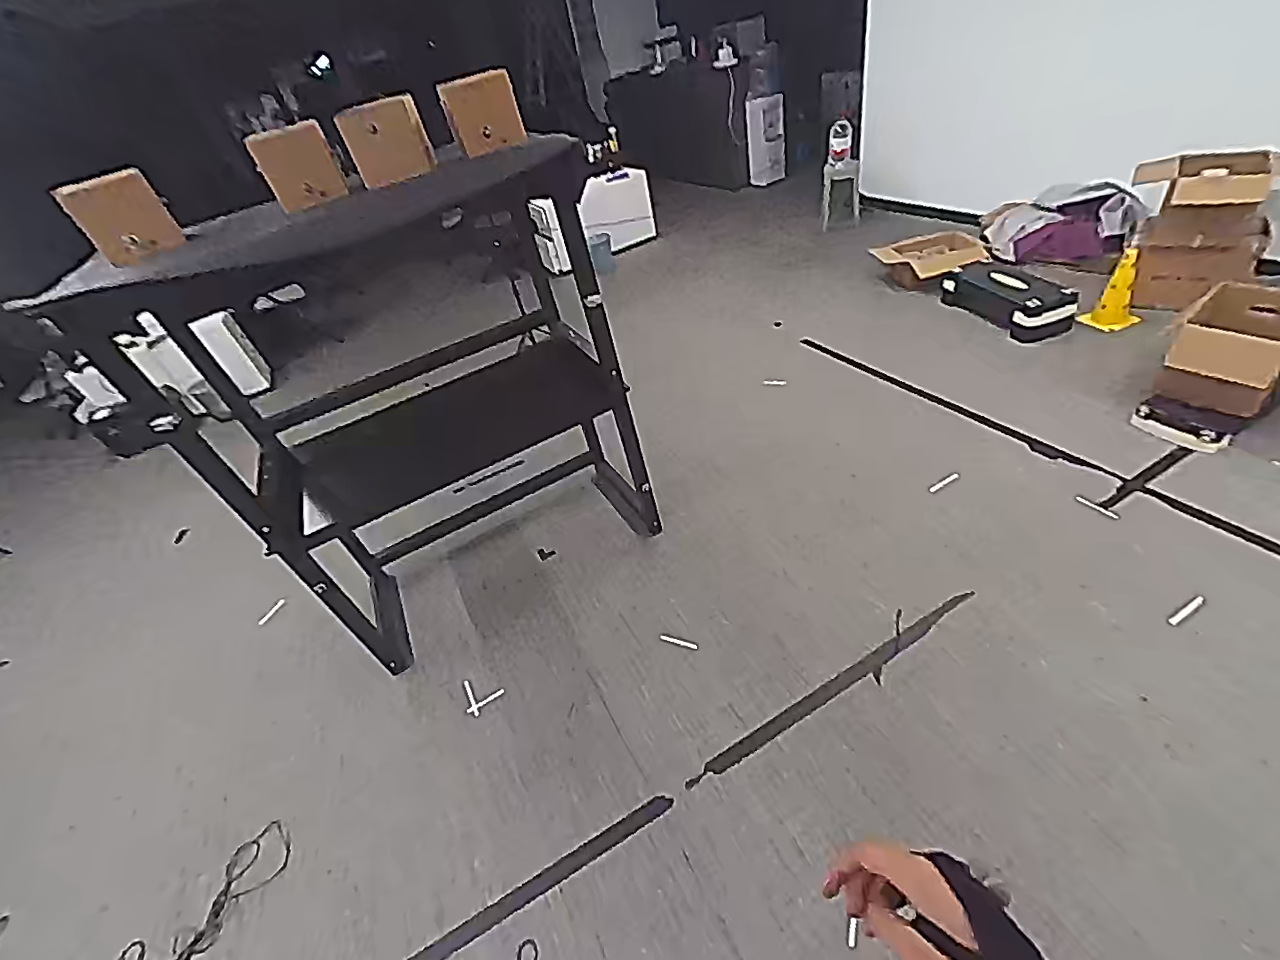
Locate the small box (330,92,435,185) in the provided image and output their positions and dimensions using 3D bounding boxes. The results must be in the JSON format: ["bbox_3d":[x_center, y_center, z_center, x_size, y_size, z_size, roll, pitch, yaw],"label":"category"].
[{"bbox_3d":[-0.661,-0.889,1.410,0.179,0.176,0.168,-16,40,-2],"label":"small box"}]

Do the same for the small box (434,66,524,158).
[{"bbox_3d":[-0.425,-0.971,1.431,0.168,0.176,0.179,-24,41,-10],"label":"small box"}]

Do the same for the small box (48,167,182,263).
[{"bbox_3d":[-1.270,-0.649,1.324,0.168,0.176,0.179,-34,44,-21],"label":"small box"}]
